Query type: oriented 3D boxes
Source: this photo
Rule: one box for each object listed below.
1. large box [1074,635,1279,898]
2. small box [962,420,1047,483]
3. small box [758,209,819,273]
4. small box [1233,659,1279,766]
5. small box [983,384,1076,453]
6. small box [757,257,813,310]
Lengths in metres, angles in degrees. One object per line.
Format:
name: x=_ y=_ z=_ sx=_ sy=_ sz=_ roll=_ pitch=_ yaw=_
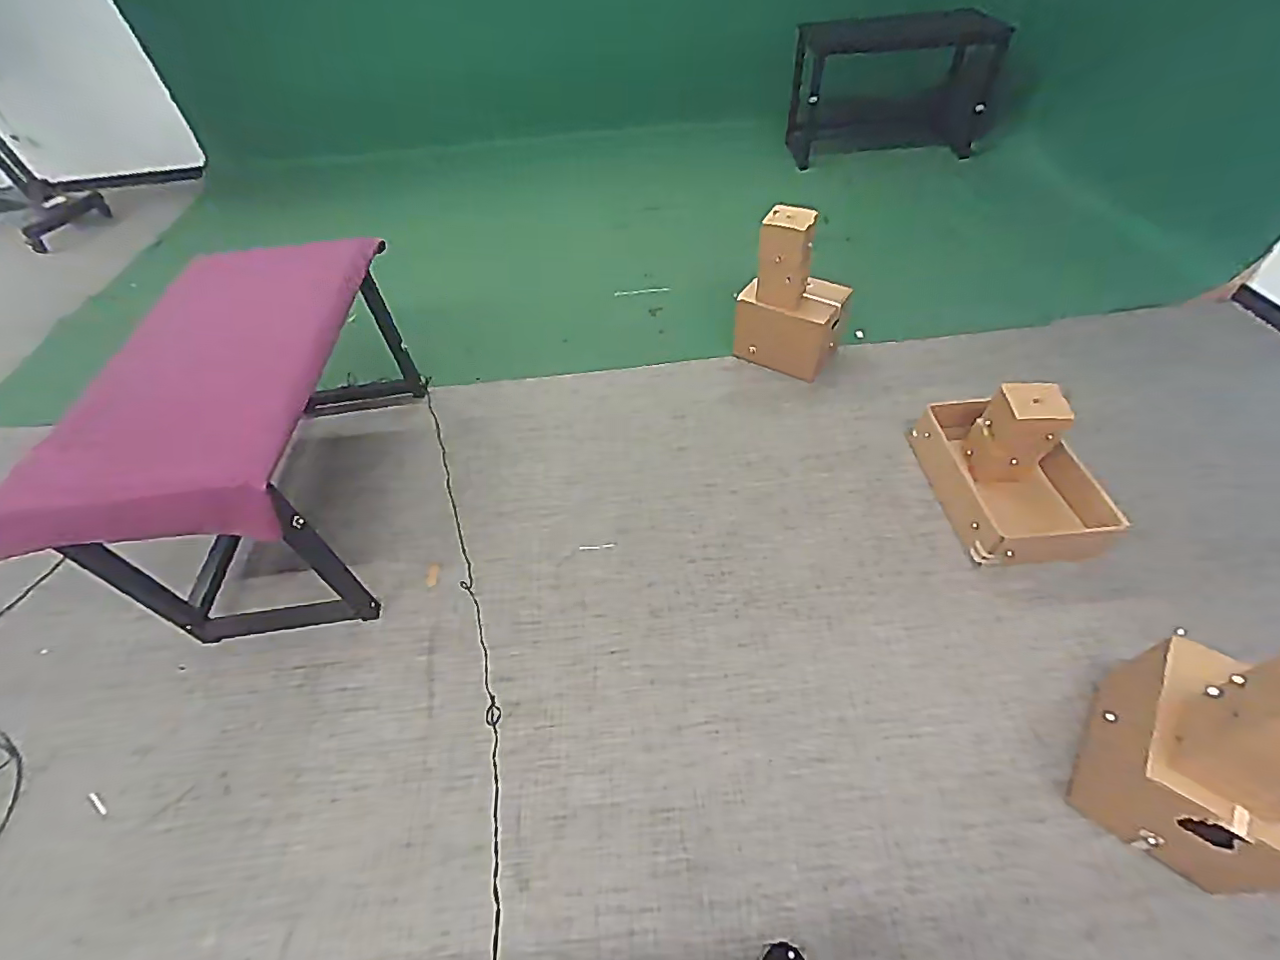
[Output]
large box: x=1.307 y=0.664 z=1.272 sx=0.320 sy=0.320 sz=0.408 roll=30 pitch=57 yaw=25
small box: x=1.305 y=-0.104 z=1.949 sx=0.179 sy=0.176 sz=0.168 roll=-3 pitch=53 yaw=4
small box: x=0.592 y=-0.953 z=2.167 sx=0.179 sy=0.176 sz=0.168 roll=22 pitch=55 yaw=20
small box: x=1.207 y=0.427 z=0.943 sx=0.179 sy=0.176 sz=0.168 roll=31 pitch=58 yaw=26
small box: x=1.299 y=-0.203 z=1.819 sx=0.179 sy=0.176 sz=0.168 roll=0 pitch=52 yaw=6
small box: x=0.611 y=-0.844 z=2.289 sx=0.179 sy=0.176 sz=0.168 roll=21 pitch=54 yaw=20
